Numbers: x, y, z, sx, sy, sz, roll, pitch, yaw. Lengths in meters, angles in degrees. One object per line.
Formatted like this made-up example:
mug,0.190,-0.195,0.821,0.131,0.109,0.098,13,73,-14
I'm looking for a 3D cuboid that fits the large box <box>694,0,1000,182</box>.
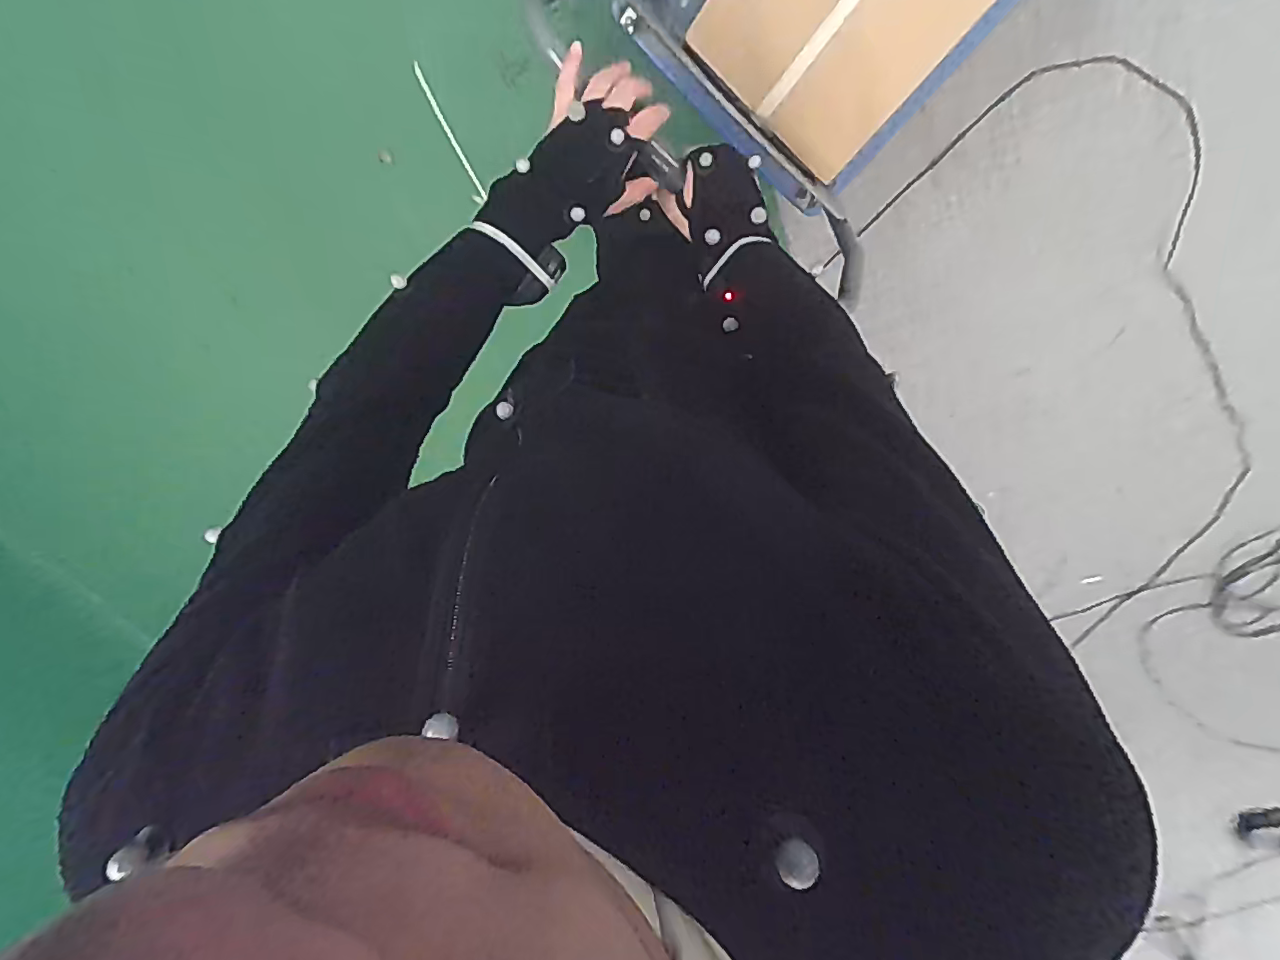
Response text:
large box,0.331,-0.766,0.853,0.320,0.320,0.408,36,123,-17
